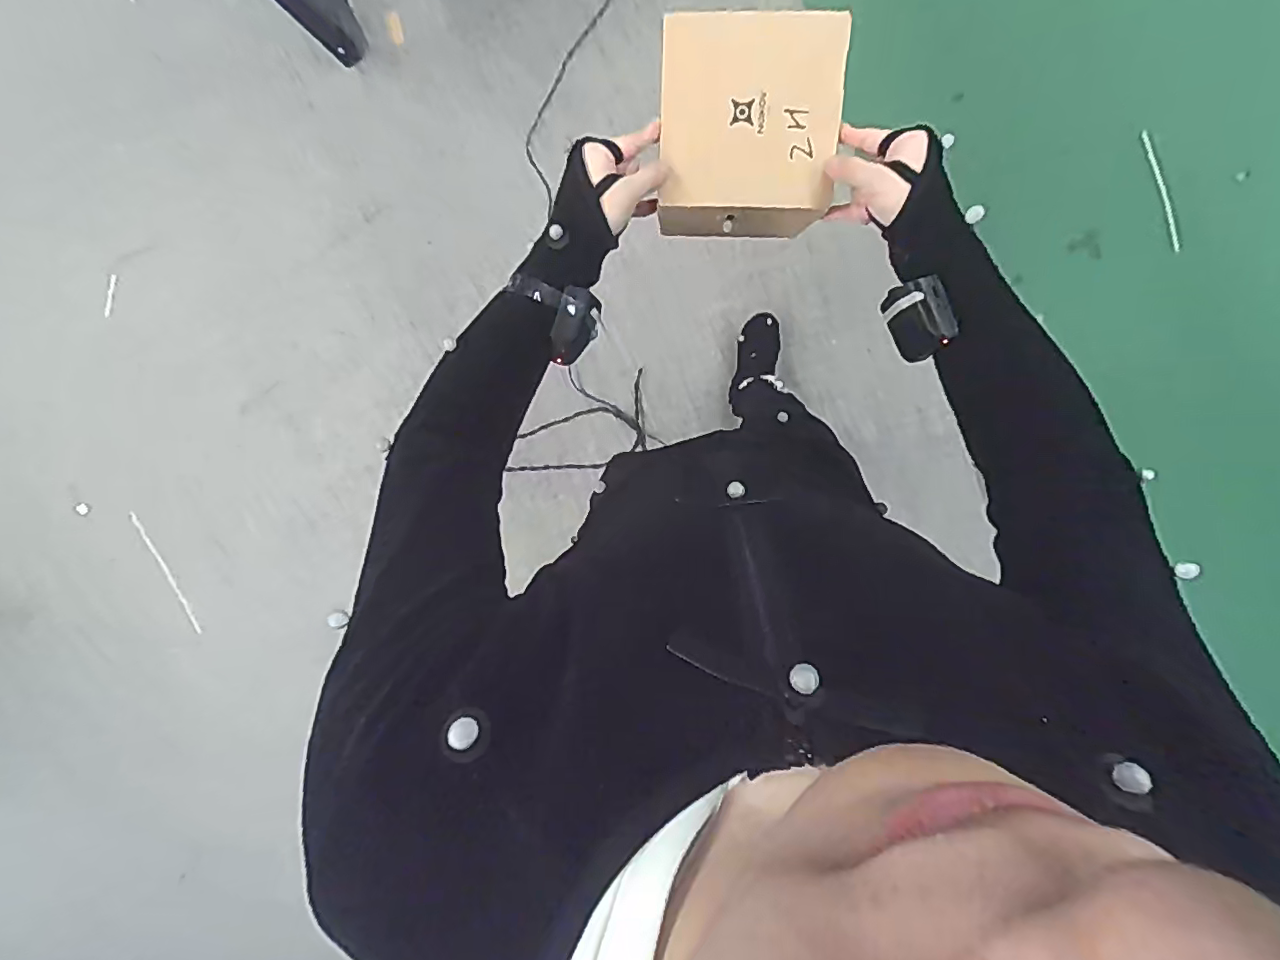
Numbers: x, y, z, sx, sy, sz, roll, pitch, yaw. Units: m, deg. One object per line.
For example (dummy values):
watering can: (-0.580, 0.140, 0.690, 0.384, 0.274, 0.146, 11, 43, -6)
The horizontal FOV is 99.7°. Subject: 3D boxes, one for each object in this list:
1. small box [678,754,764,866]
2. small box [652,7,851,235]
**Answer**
small box: (0.209, 0.863, 1.431, 0.179, 0.176, 0.168, -22, 94, 9)
small box: (0.107, -0.370, 0.590, 0.179, 0.176, 0.168, 2, 106, 3)
